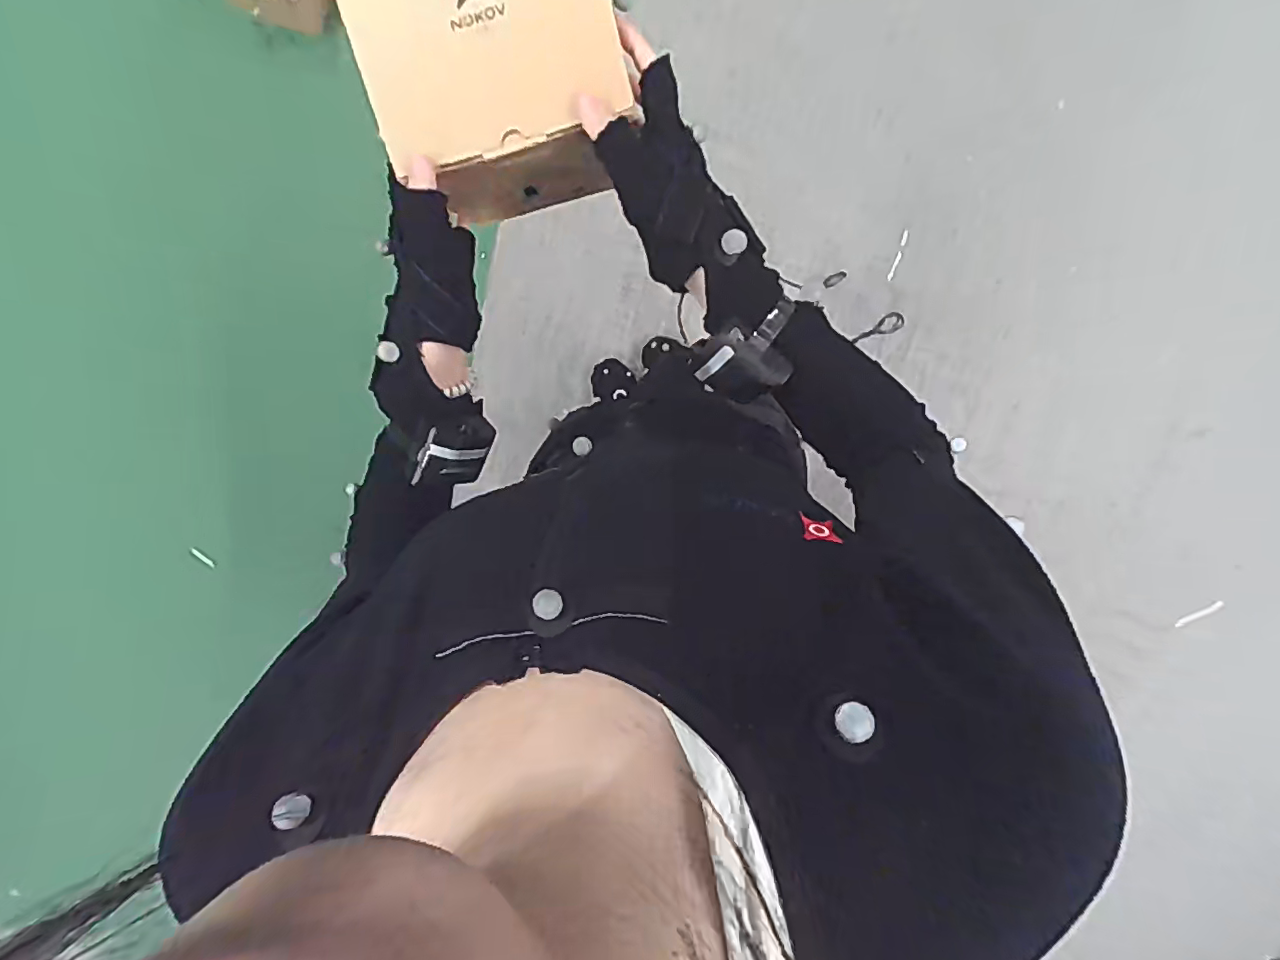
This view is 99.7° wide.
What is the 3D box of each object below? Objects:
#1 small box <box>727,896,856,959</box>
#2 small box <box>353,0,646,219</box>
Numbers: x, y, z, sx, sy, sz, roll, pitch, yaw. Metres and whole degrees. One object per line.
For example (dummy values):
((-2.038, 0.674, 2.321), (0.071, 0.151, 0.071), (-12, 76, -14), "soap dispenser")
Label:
((0.256, 0.846, 0.905), (0.179, 0.176, 0.168), (14, 104, -3), "small box")
((-0.094, -0.320, 0.408), (0.168, 0.176, 0.179), (-12, 107, 5), "small box")
